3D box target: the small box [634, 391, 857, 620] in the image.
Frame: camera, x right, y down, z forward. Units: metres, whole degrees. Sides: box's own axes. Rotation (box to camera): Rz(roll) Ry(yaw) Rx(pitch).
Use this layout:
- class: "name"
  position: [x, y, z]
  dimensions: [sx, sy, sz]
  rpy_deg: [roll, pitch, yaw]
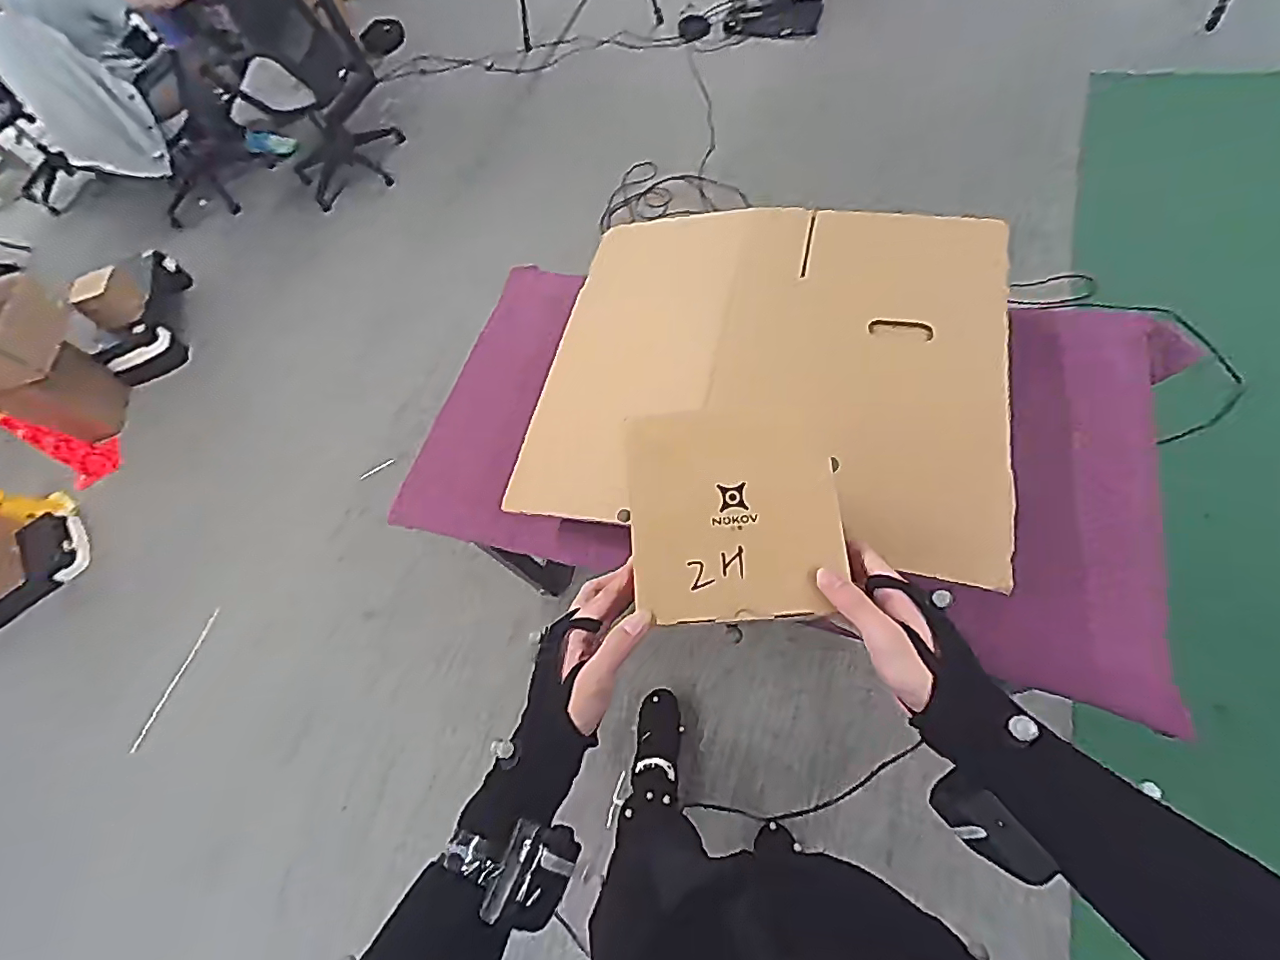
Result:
- class: "small box"
  position: [0.084, 0.035, 0.503]
  dimensions: [0.168, 0.176, 0.179]
  rpy_deg: [-4, 74, 5]
